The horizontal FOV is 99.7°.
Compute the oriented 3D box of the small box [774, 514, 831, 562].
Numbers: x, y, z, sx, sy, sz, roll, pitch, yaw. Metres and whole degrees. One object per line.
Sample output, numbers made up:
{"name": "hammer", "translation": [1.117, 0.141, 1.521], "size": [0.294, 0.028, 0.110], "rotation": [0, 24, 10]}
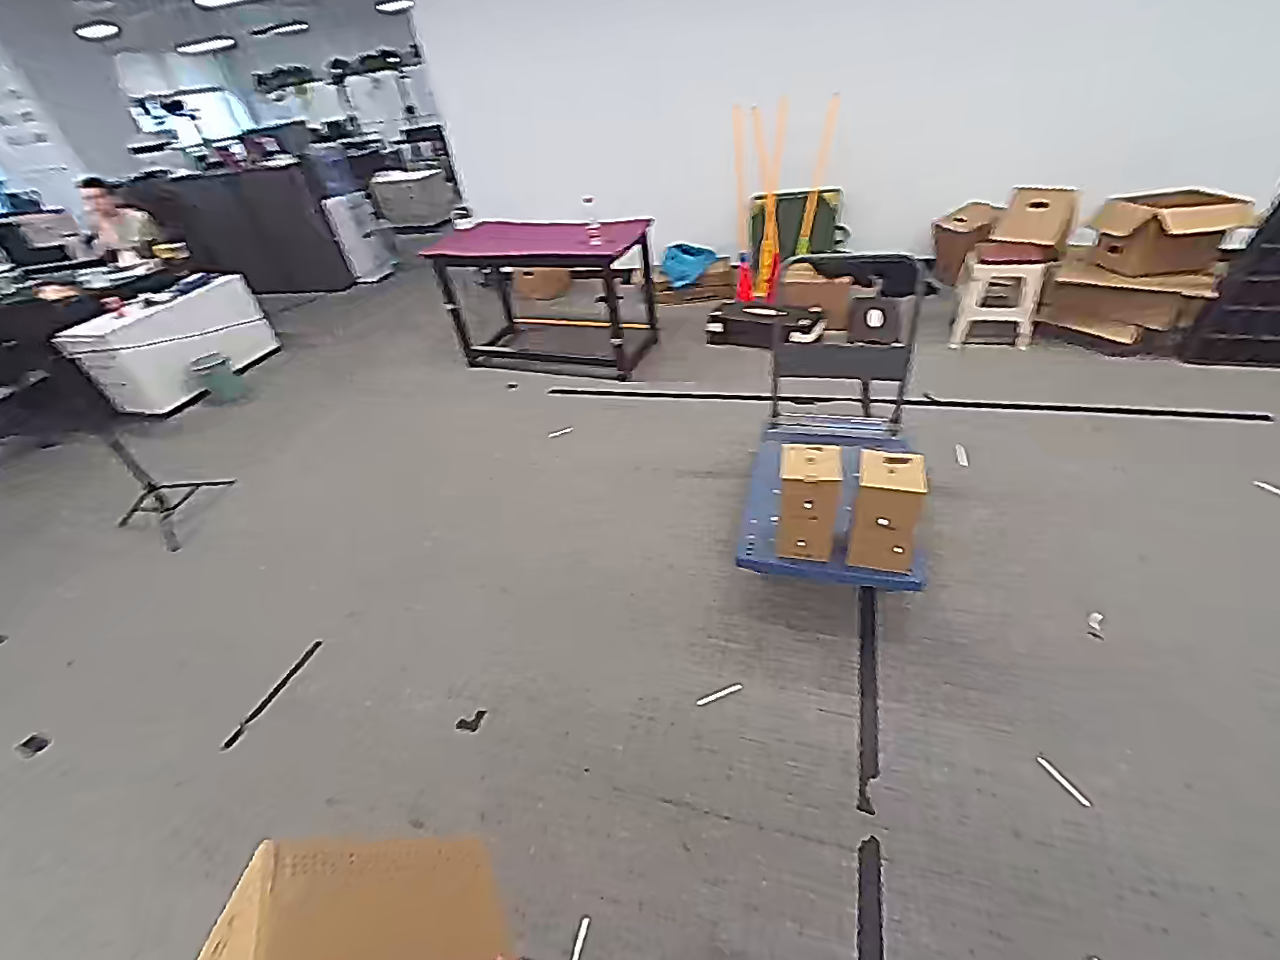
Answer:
{"name": "small box", "translation": [0.526, 0.145, 1.750], "size": [0.168, 0.176, 0.179], "rotation": [6, 39, 16]}

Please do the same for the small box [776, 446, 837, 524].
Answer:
{"name": "small box", "translation": [0.506, 0.016, 1.648], "size": [0.168, 0.176, 0.179], "rotation": [4, 40, 14]}

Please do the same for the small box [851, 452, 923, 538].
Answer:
{"name": "small box", "translation": [0.715, 0.043, 1.579], "size": [0.168, 0.176, 0.179], "rotation": [8, 41, 18]}
